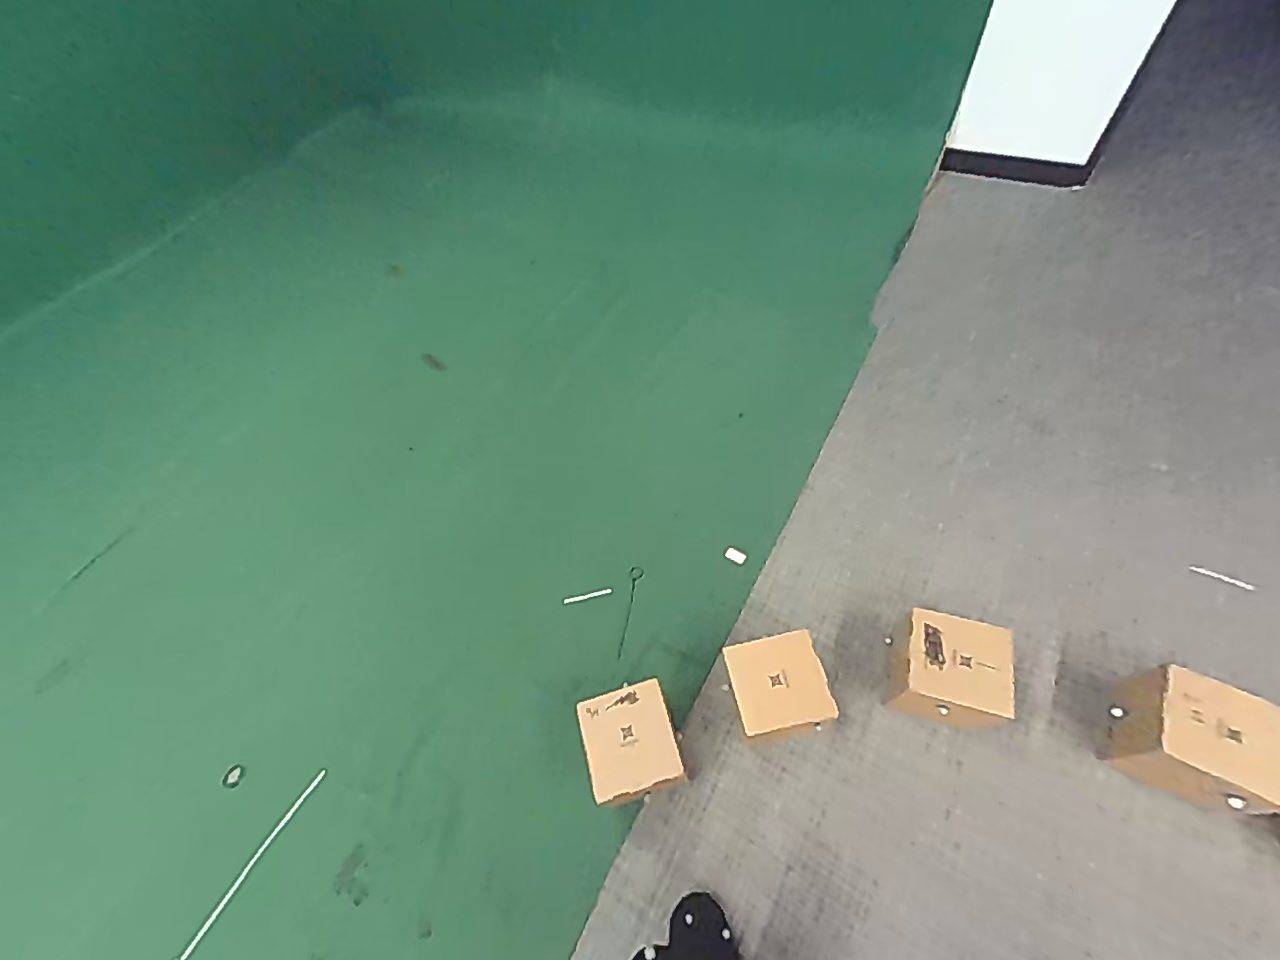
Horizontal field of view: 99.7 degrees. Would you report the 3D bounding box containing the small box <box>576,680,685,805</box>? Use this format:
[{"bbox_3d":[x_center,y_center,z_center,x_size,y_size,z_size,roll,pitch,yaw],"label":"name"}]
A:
[{"bbox_3d":[-0.015,0.517,1.060,0.168,0.176,0.179,-17,57,-3],"label":"small box"}]

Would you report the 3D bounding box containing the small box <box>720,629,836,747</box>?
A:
[{"bbox_3d":[0.267,0.422,1.084,0.179,0.176,0.168,-13,56,-1],"label":"small box"}]

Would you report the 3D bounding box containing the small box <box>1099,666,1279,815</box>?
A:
[{"bbox_3d":[0.970,0.460,0.955,0.179,0.176,0.168,24,63,21],"label":"small box"}]
